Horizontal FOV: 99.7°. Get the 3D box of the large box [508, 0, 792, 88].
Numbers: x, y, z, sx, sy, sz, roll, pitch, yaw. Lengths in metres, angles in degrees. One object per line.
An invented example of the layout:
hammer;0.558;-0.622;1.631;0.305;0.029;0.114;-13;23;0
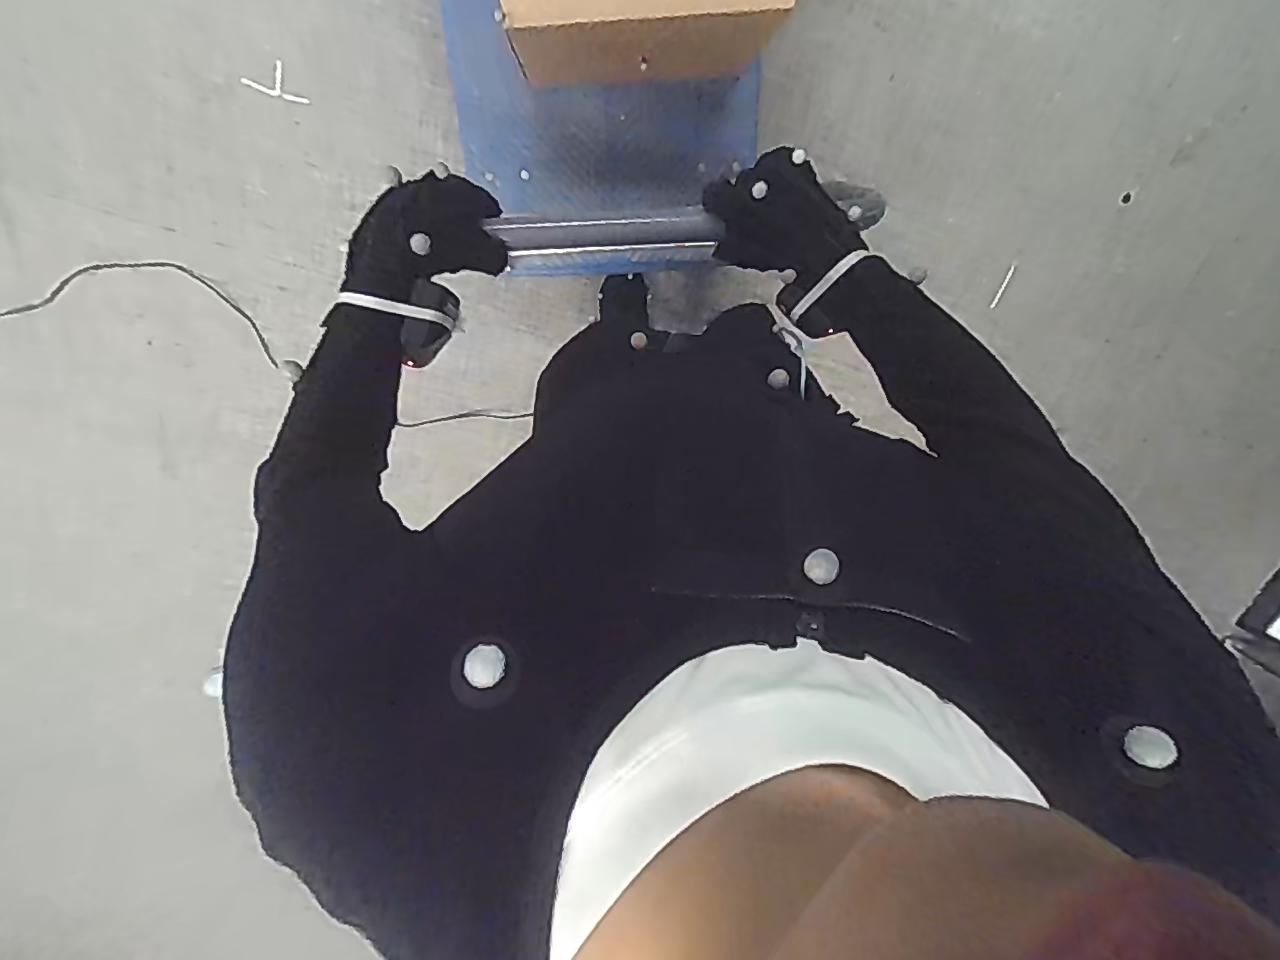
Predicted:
large box;-0.002;-0.844;0.836;0.408;0.320;0.320;-6;113;0
